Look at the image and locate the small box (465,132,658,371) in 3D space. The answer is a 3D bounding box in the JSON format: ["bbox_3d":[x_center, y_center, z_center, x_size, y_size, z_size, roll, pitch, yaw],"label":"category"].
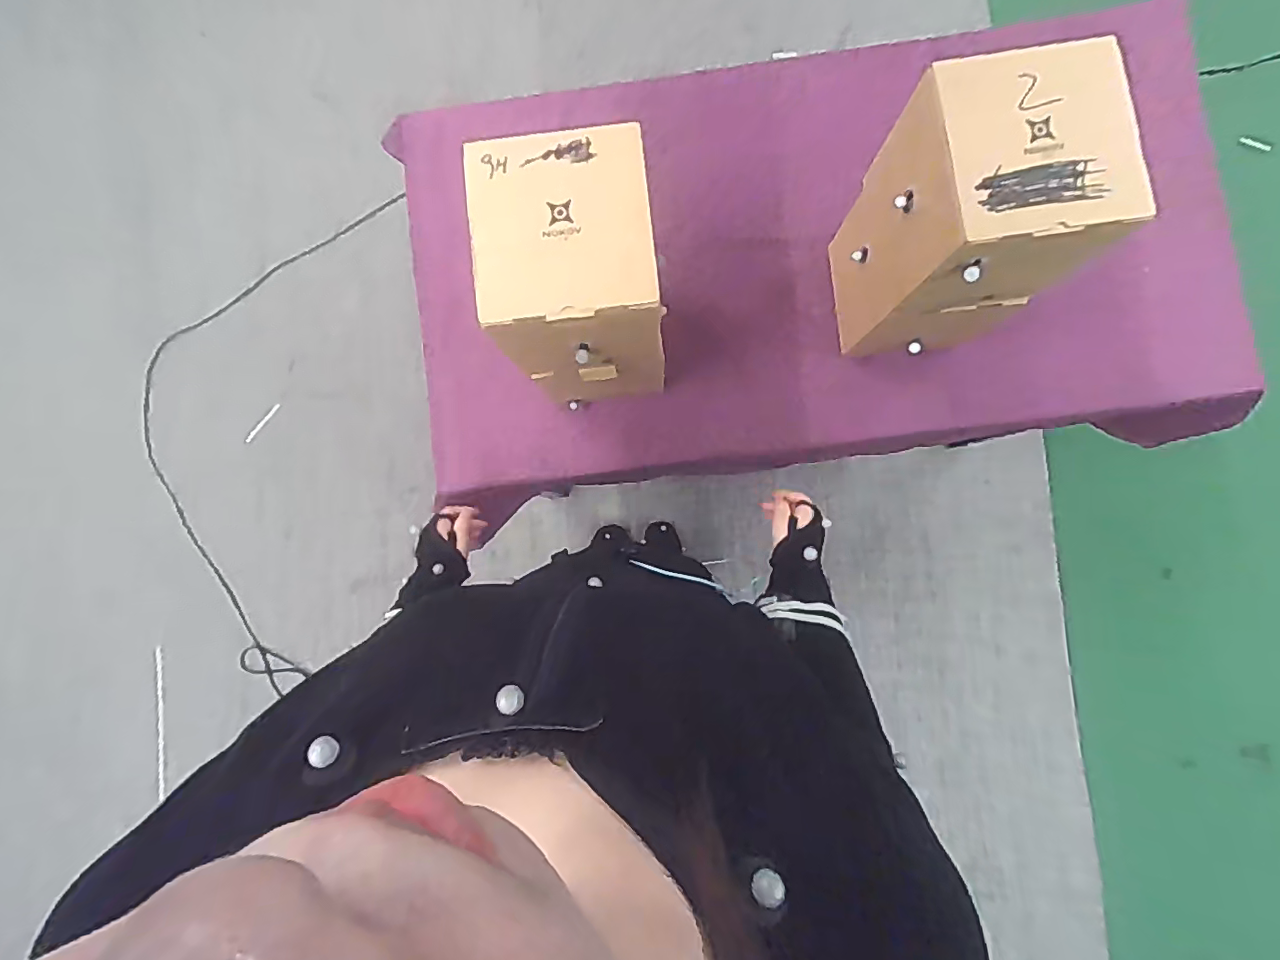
[{"bbox_3d":[-0.070,-0.220,0.570,0.168,0.176,0.179,-6,86,1],"label":"small box"}]

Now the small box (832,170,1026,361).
[{"bbox_3d":[0.368,-0.274,0.722,0.168,0.176,0.179,-5,86,2],"label":"small box"}]

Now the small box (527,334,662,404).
[{"bbox_3d":[-0.061,-0.207,0.733,0.168,0.176,0.179,-8,84,1],"label":"small box"}]
